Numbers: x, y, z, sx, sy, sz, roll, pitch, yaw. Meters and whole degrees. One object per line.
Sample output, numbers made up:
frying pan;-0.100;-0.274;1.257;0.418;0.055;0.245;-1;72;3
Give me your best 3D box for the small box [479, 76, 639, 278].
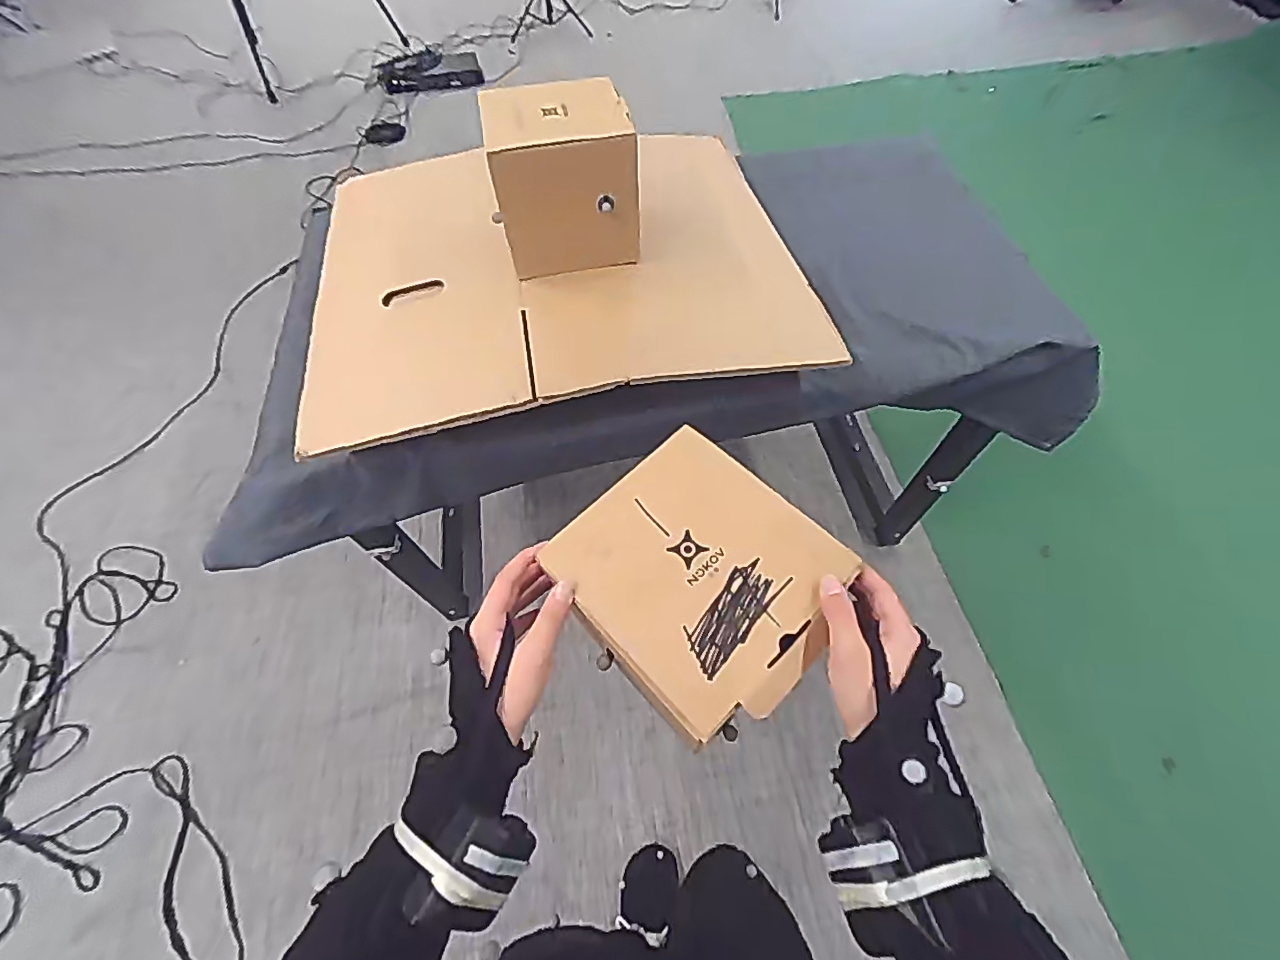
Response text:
small box;-0.101;-0.397;0.717;0.179;0.176;0.168;-12;57;-5
